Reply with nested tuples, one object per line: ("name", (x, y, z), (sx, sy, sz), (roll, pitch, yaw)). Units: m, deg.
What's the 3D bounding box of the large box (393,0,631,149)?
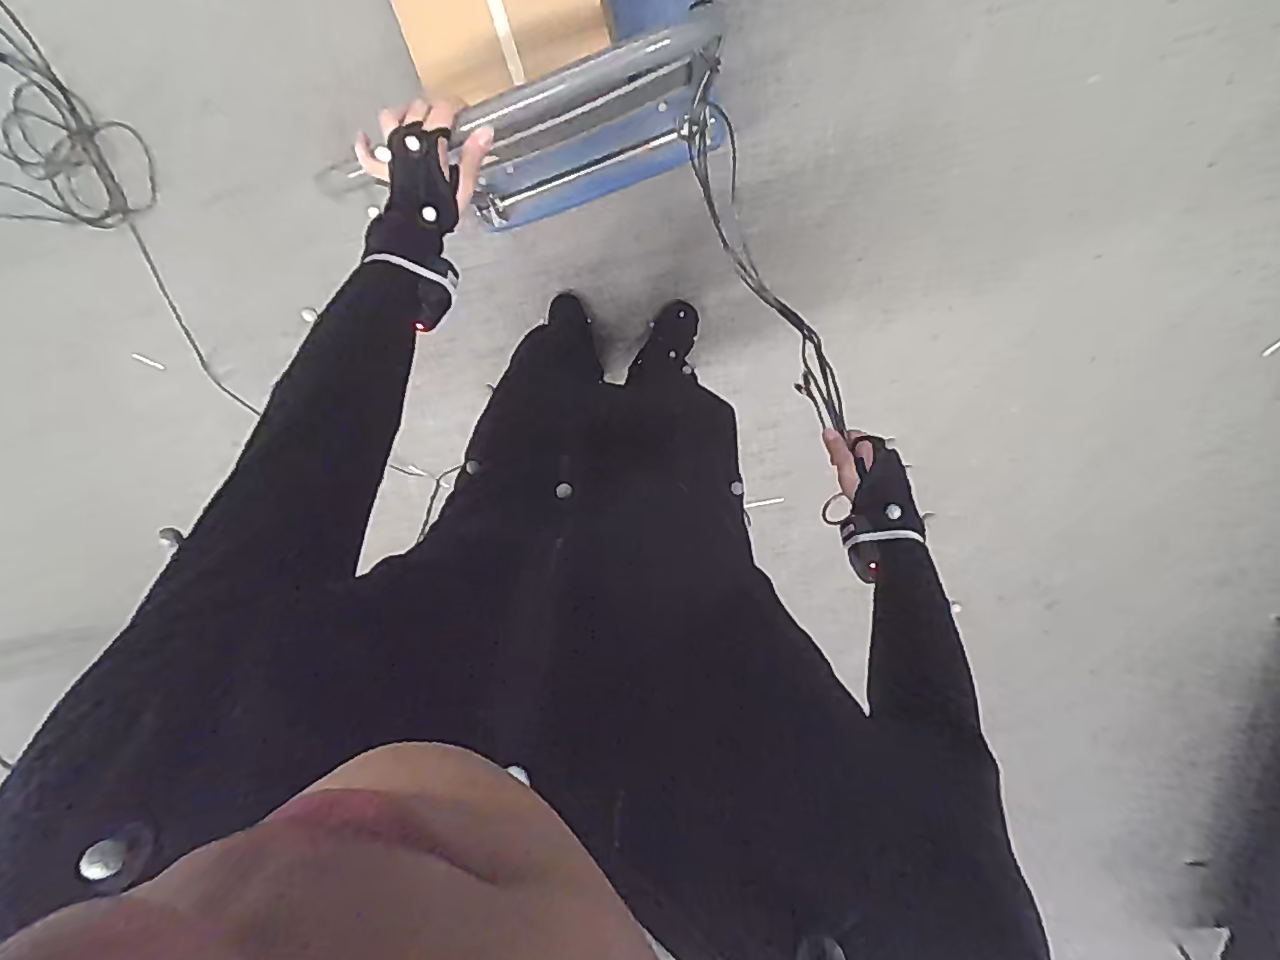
("large box", (-0.229, -0.857, 0.932), (0.320, 0.320, 0.408), (-13, 114, 10))
